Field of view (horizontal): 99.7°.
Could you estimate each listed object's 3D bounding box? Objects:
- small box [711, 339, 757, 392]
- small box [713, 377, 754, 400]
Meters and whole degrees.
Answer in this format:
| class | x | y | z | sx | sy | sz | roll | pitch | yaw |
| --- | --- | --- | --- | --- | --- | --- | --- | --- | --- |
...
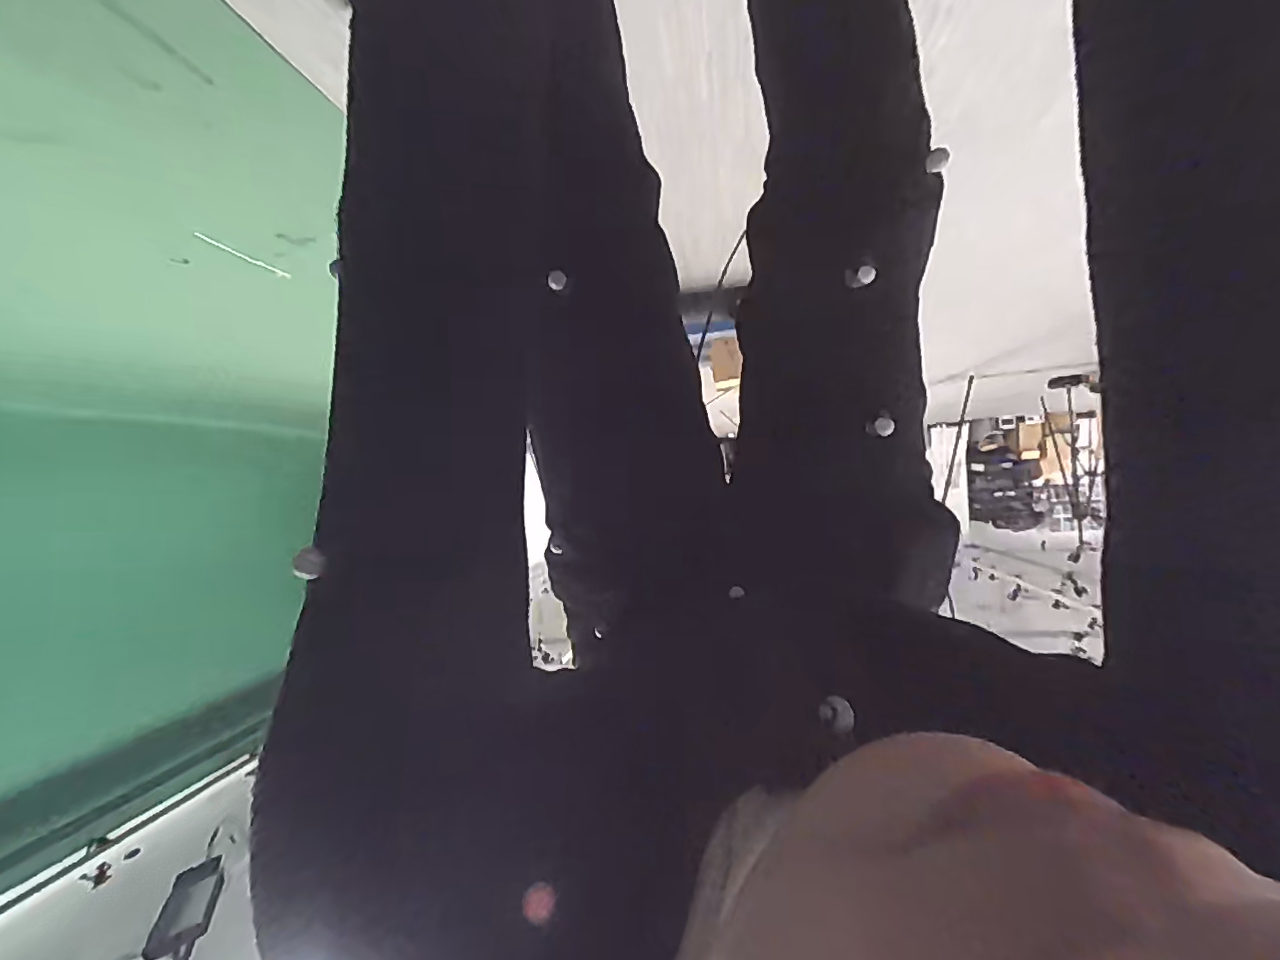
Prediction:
| class | x | y | z | sx | sy | sz | roll | pitch | yaw |
| --- | --- | --- | --- | --- | --- | --- | --- | --- | --- |
| small box | 0.370 | -0.454 | 2.135 | 0.168 | 0.176 | 0.179 | -4 | 180 | 11 |
| small box | 0.410 | -0.457 | 2.396 | 0.168 | 0.176 | 0.179 | -4 | -179 | 6 |
